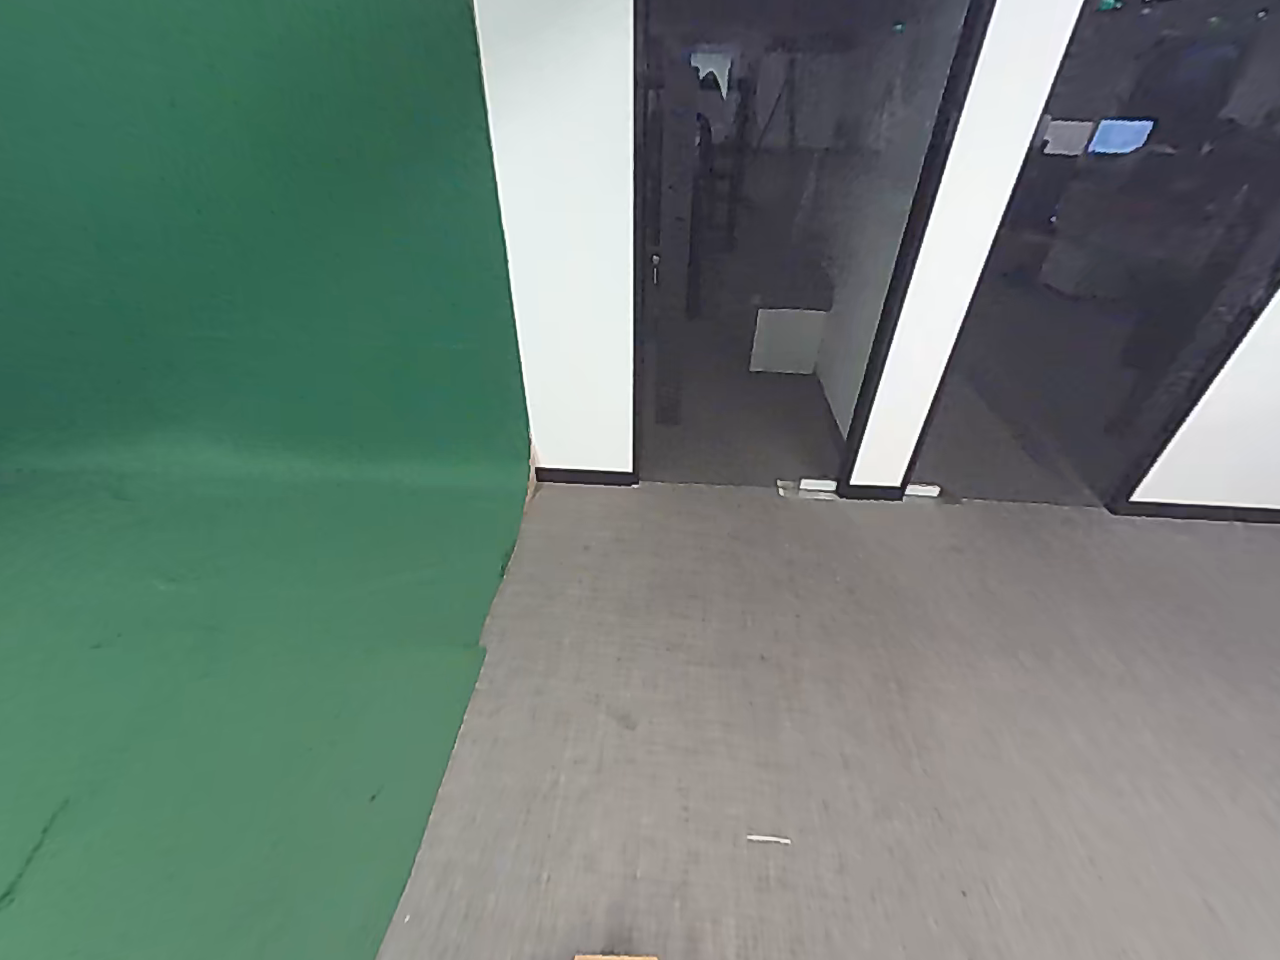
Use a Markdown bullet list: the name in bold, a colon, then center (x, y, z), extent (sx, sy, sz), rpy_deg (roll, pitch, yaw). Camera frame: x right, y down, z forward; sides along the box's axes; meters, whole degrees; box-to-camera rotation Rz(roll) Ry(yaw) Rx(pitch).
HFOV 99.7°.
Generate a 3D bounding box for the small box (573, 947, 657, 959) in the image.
- **small box**: center (-0.052, 1.030, 1.031), extent (0.168, 0.176, 0.179), rpy_deg (1, 37, 0)
